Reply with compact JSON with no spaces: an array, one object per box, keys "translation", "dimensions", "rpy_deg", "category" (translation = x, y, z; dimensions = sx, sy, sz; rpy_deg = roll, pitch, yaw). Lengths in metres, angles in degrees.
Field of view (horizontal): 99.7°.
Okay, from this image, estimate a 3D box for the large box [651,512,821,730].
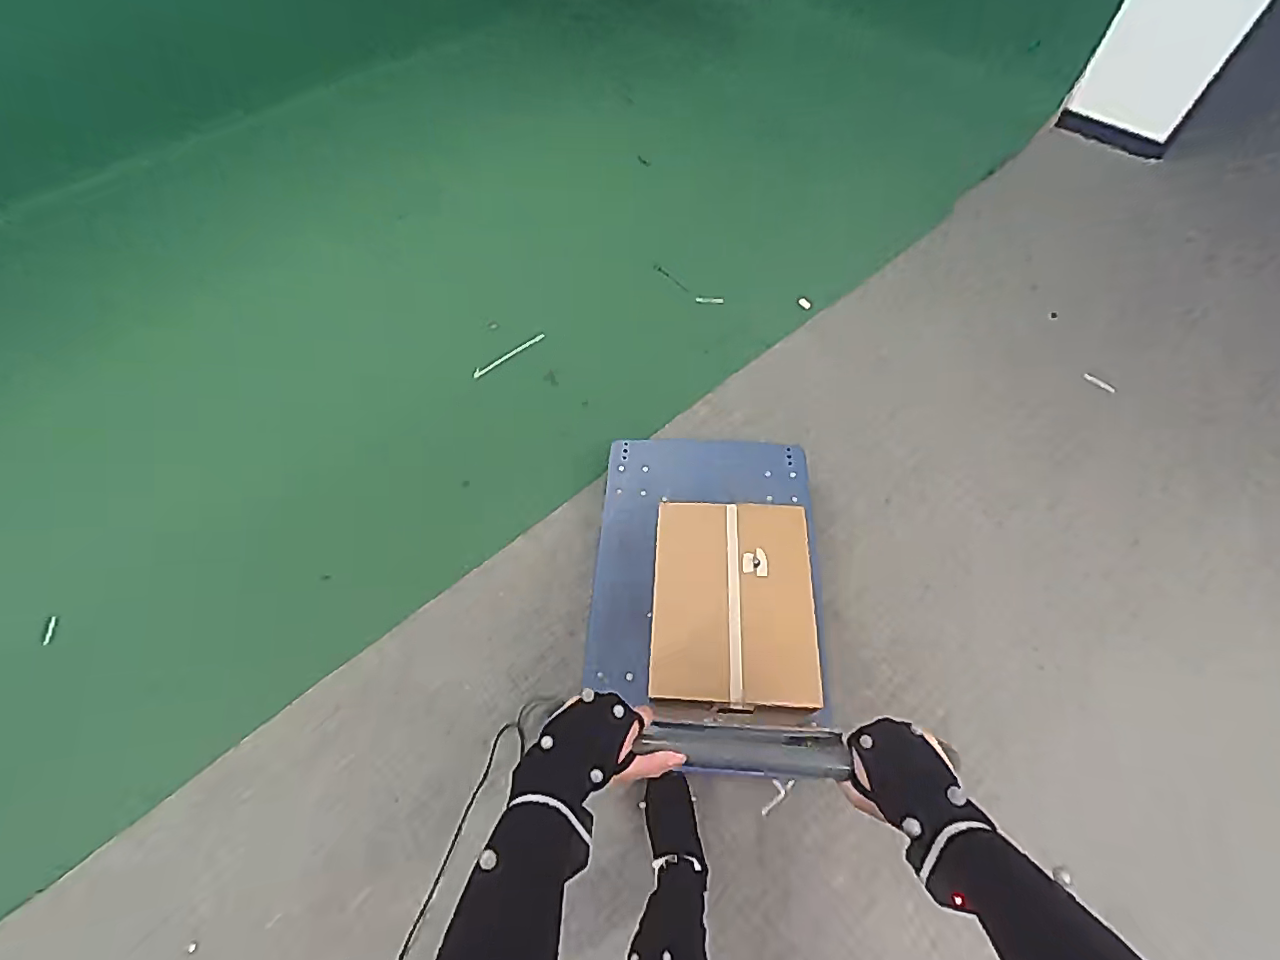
[{"translation":[0.193,0.322,1.213],"dimensions":[0.320,0.320,0.408],"rpy_deg":[2,58,4],"category":"large box"}]
